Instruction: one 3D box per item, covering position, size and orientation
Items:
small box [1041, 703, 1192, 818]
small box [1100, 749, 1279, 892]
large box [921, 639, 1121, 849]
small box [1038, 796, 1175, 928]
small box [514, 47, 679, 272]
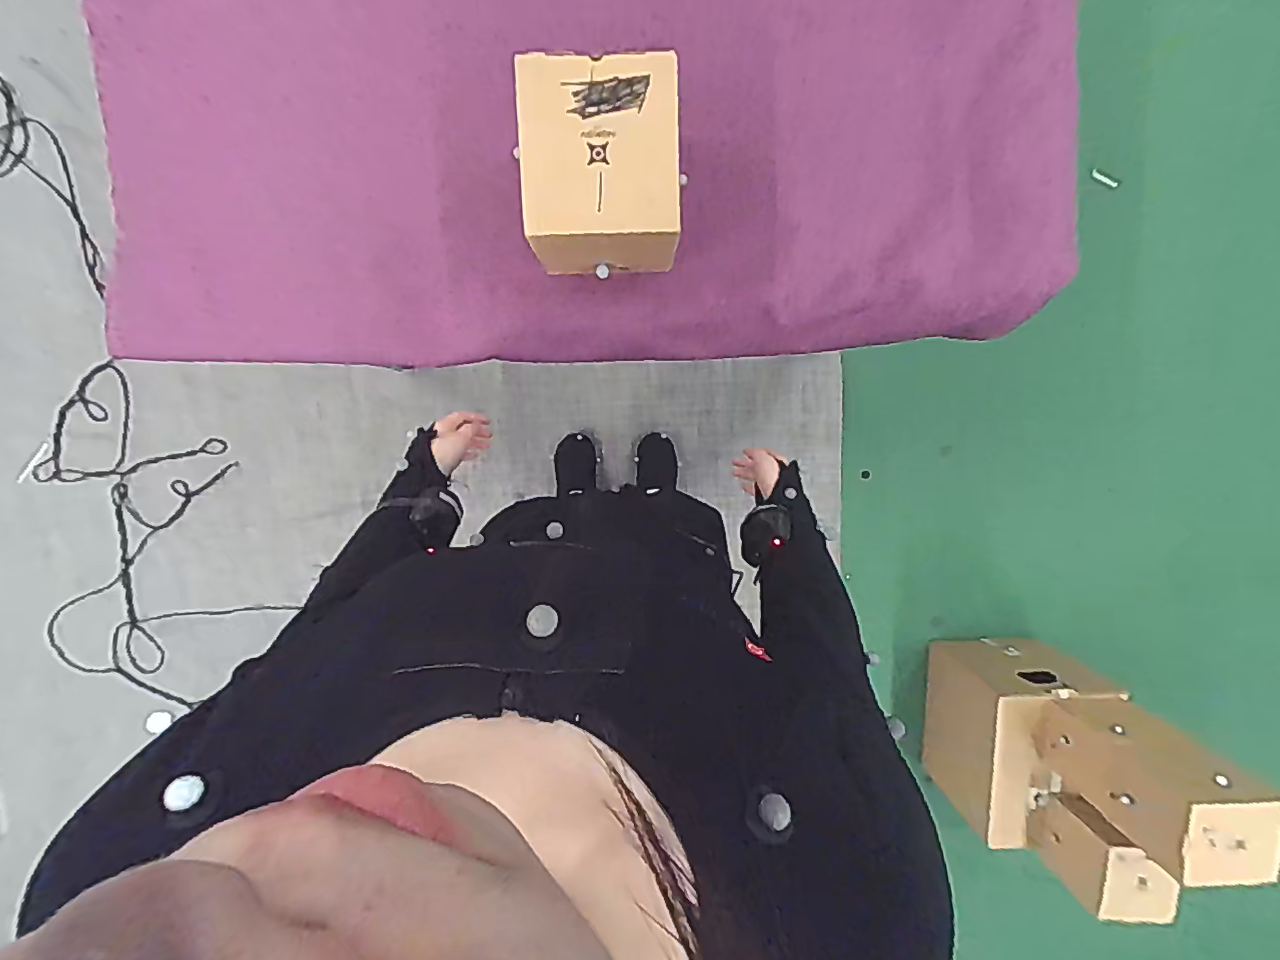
[{"bbox_3d":[1.037,0.610,1.191,0.179,0.176,0.168,-1,99,-1],"label":"small box"},{"bbox_3d":[1.037,0.636,1.028,0.179,0.176,0.168,-2,98,0],"label":"small box"},{"bbox_3d":[0.985,0.682,1.445,0.320,0.320,0.408,-1,99,0],"label":"large box"},{"bbox_3d":[1.046,0.856,1.222,0.168,0.176,0.179,4,97,-2],"label":"small box"},{"bbox_3d":[-0.044,-0.351,0.623,0.168,0.176,0.179,-2,99,0],"label":"small box"}]
